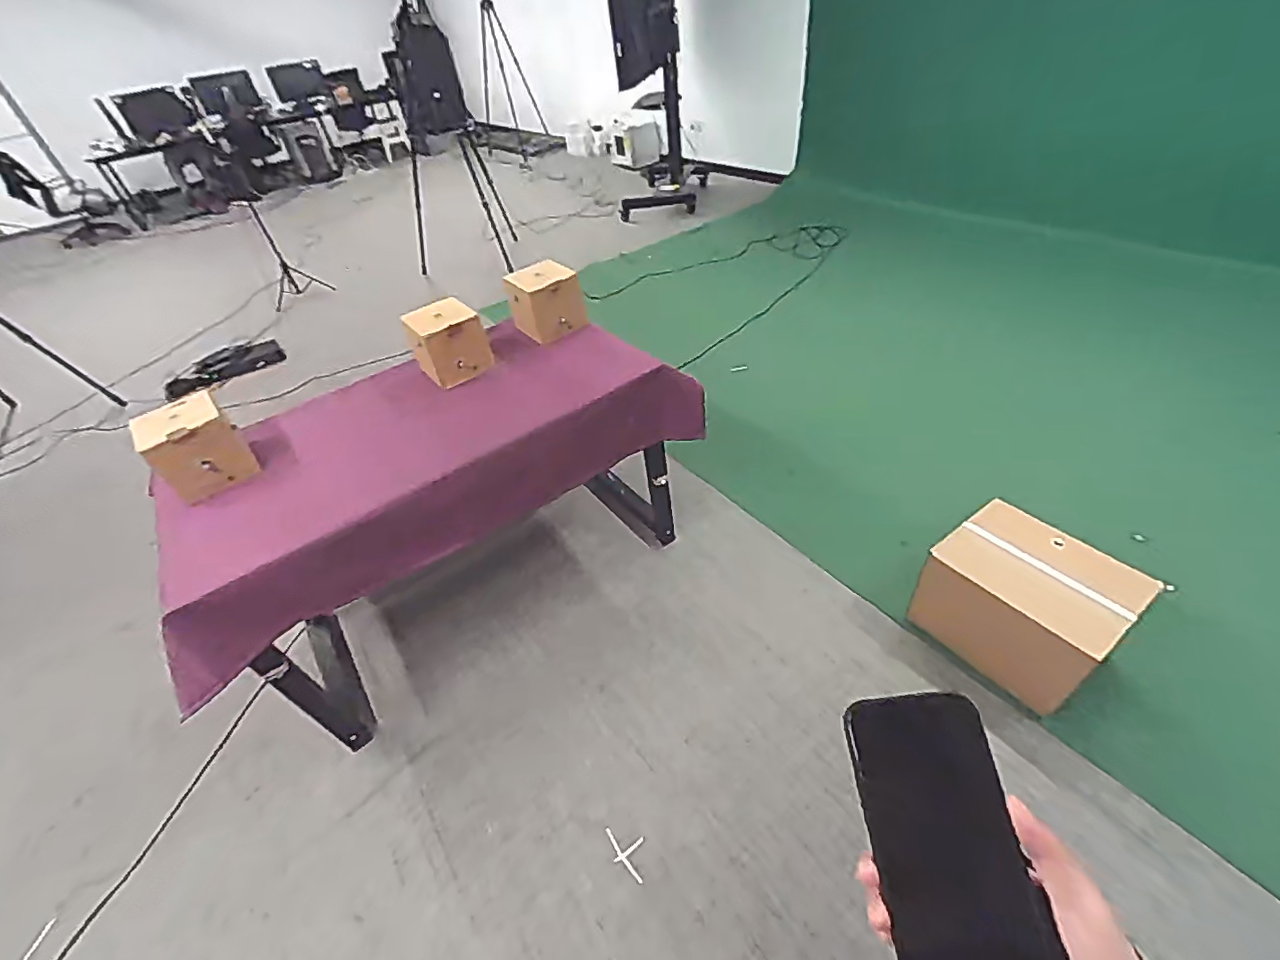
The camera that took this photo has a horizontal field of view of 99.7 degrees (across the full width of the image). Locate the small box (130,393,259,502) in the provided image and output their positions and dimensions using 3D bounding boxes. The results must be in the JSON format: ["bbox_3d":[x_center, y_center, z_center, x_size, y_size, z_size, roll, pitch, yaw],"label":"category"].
[{"bbox_3d":[-1.044,-0.072,1.278,0.168,0.176,0.179,-35,50,-26],"label":"small box"}]

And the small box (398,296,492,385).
[{"bbox_3d":[-0.547,-0.392,1.528,0.168,0.176,0.179,-34,49,-23],"label":"small box"}]

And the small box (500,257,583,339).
[{"bbox_3d":[-0.297,-0.551,1.643,0.168,0.176,0.179,-32,48,-21],"label":"small box"}]
